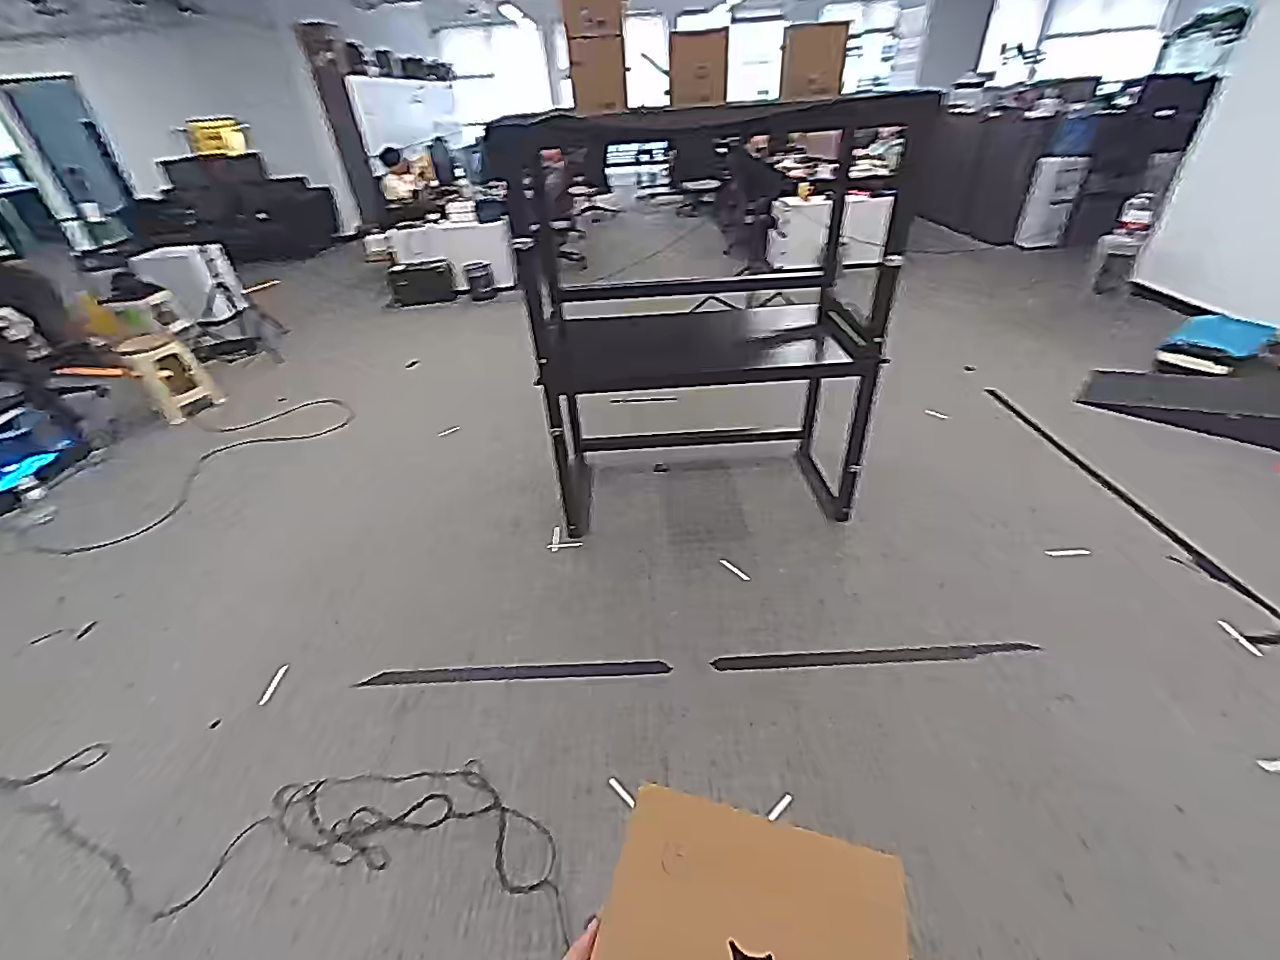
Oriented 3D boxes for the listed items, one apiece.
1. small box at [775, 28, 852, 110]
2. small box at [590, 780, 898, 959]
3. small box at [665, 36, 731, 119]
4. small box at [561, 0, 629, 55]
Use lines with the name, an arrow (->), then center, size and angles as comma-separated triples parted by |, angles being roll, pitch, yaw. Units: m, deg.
small box -> 0.470, -1.127, 1.494 | 0.168, 0.176, 0.179 | 0, 35, 6
small box -> 0.056, 0.333, 0.339 | 0.168, 0.176, 0.179 | 8, 40, 14
small box -> 0.157, -1.111, 1.501 | 0.168, 0.176, 0.179 | -2, 34, 0
small box -> -0.118, -1.228, 1.414 | 0.168, 0.176, 0.179 | -4, 35, 1
